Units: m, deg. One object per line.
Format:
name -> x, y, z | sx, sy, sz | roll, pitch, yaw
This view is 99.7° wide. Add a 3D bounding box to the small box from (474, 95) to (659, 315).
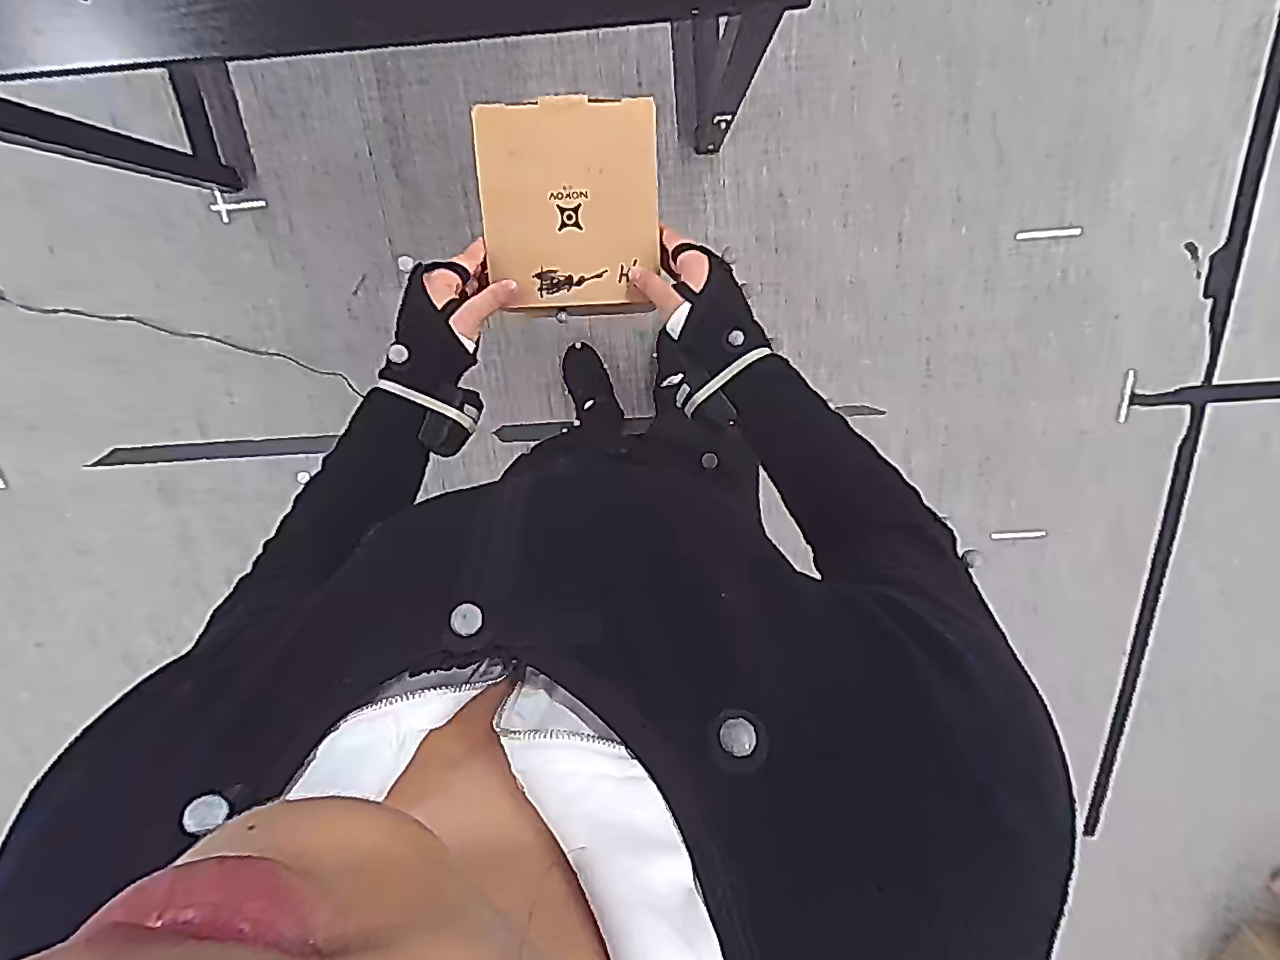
small box -> -0.067, -0.275, 0.578 | 0.168, 0.176, 0.179 | -2, 104, 0
